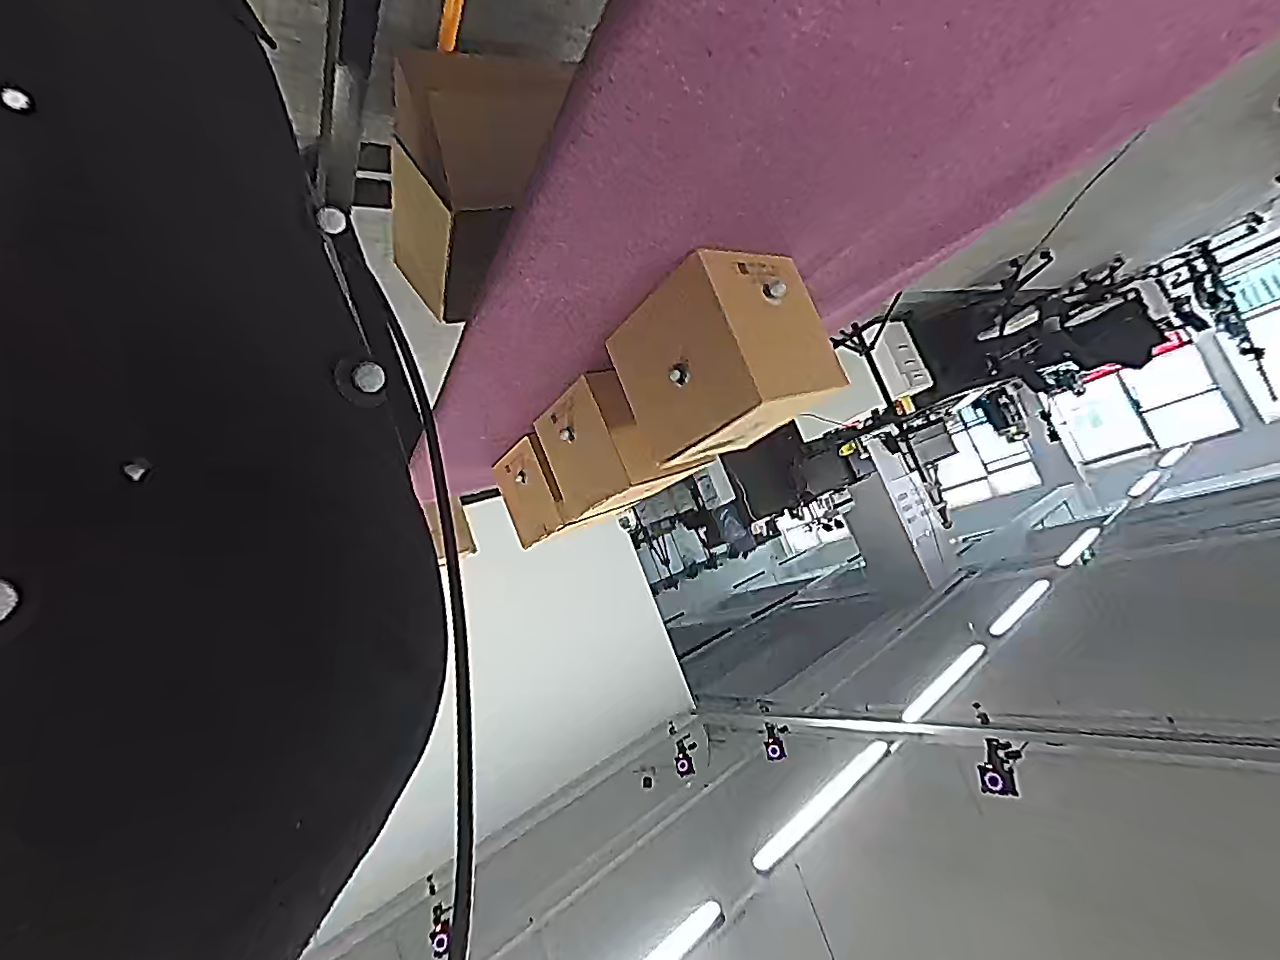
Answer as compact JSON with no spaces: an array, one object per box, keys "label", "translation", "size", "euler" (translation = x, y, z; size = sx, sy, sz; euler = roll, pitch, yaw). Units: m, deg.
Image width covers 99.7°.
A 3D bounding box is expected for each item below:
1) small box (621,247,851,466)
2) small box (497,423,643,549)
[{"label":"small box","translation":[0.098,-0.134,0.619],"size":[0.168,0.176,0.179],"euler":[-15,170,-39]},{"label":"small box","translation":[-0.130,0.006,0.986],"size":[0.179,0.176,0.168],"euler":[-16,171,-40]}]
